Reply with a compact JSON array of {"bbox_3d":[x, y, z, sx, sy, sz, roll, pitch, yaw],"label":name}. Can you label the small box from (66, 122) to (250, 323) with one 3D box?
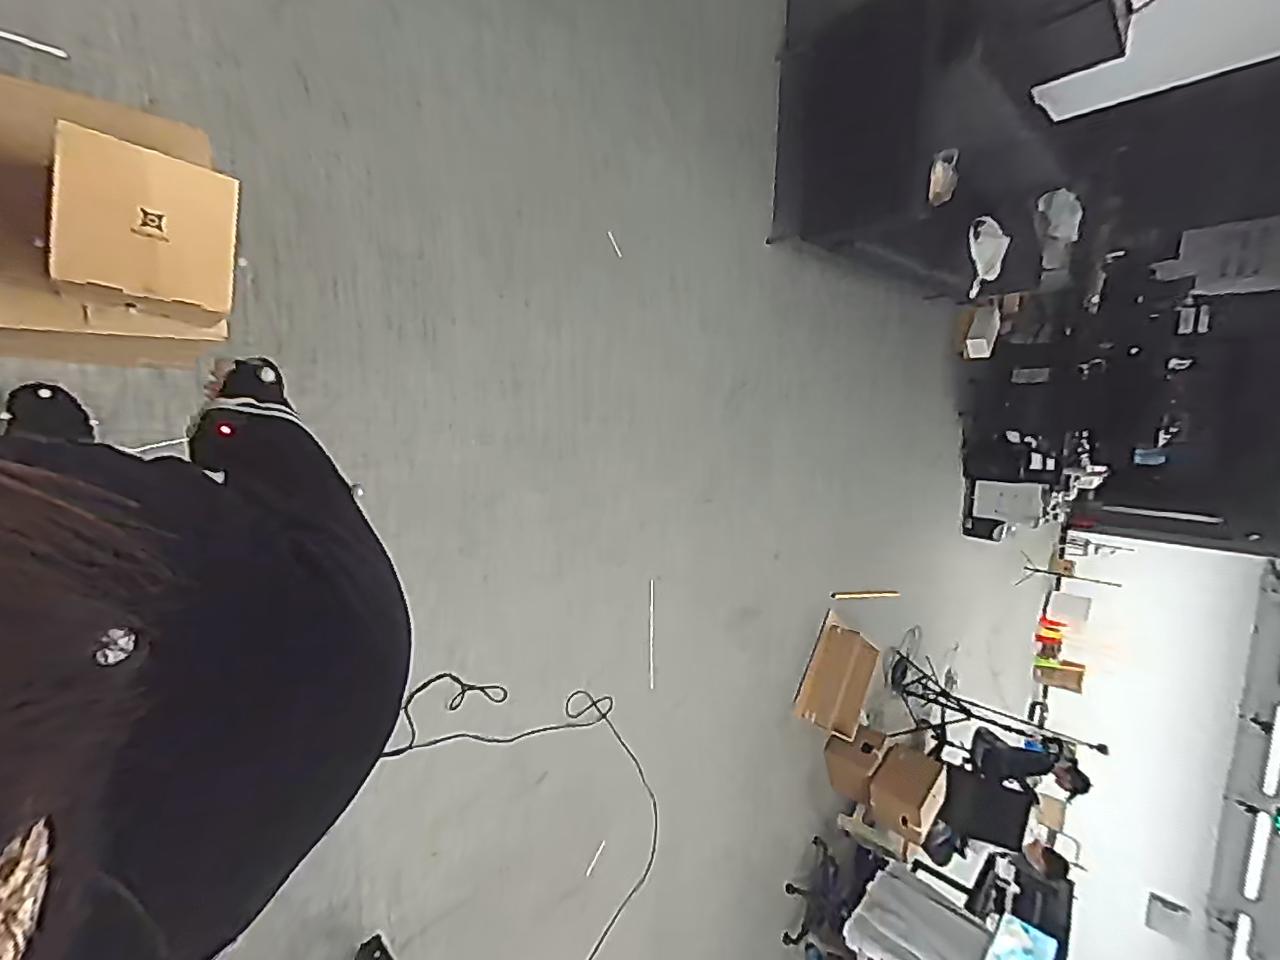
[{"bbox_3d":[-0.635,-0.320,0.716,0.168,0.176,0.179,2,95,-43],"label":"small box"}]
